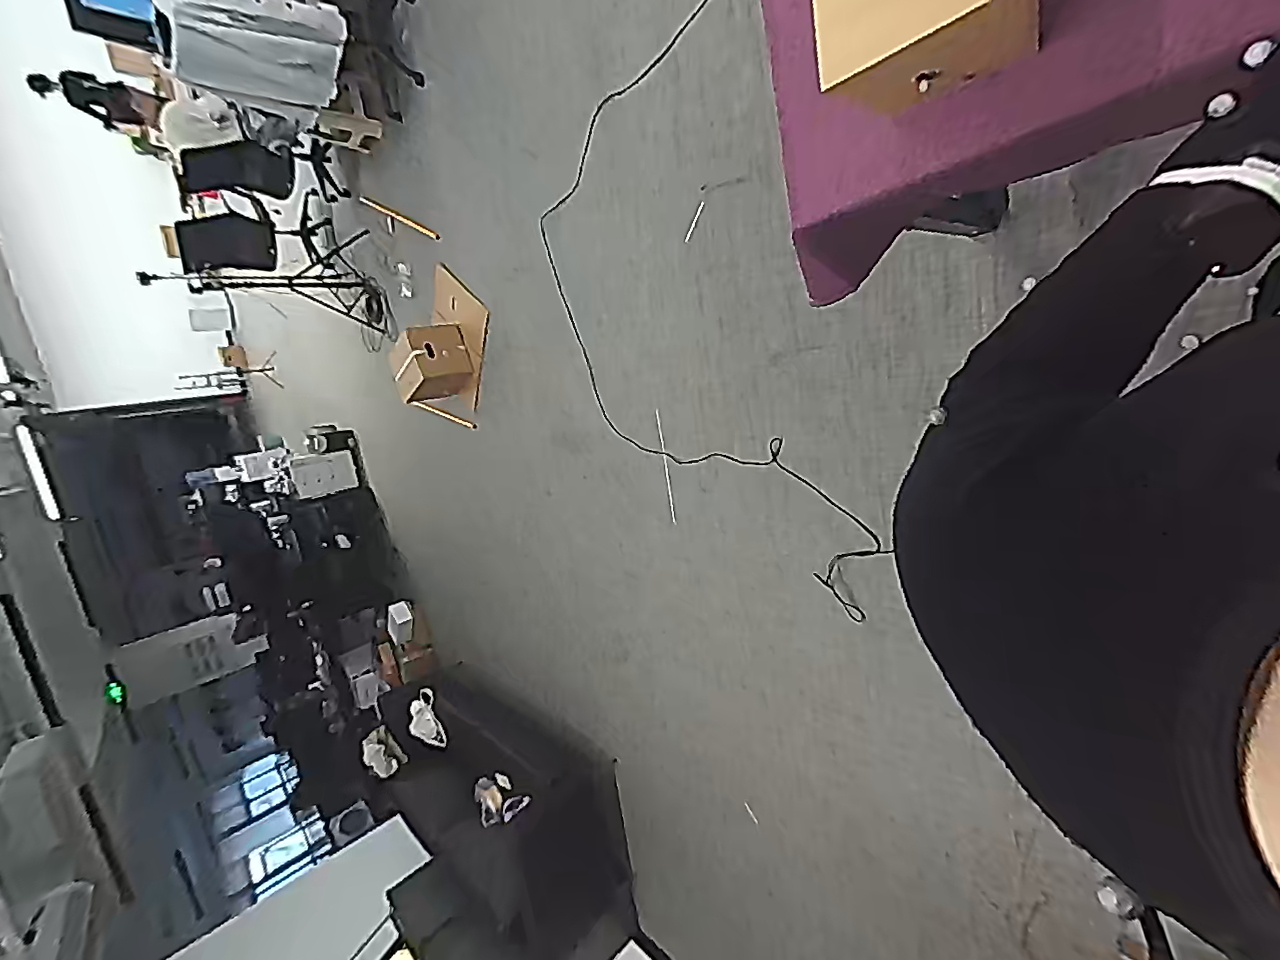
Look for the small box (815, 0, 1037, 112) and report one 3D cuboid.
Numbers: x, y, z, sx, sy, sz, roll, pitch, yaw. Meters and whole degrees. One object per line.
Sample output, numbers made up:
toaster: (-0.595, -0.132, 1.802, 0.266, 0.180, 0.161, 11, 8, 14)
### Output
small box: (0.304, -0.522, 0.573, 0.168, 0.176, 0.179, 3, 106, 48)
